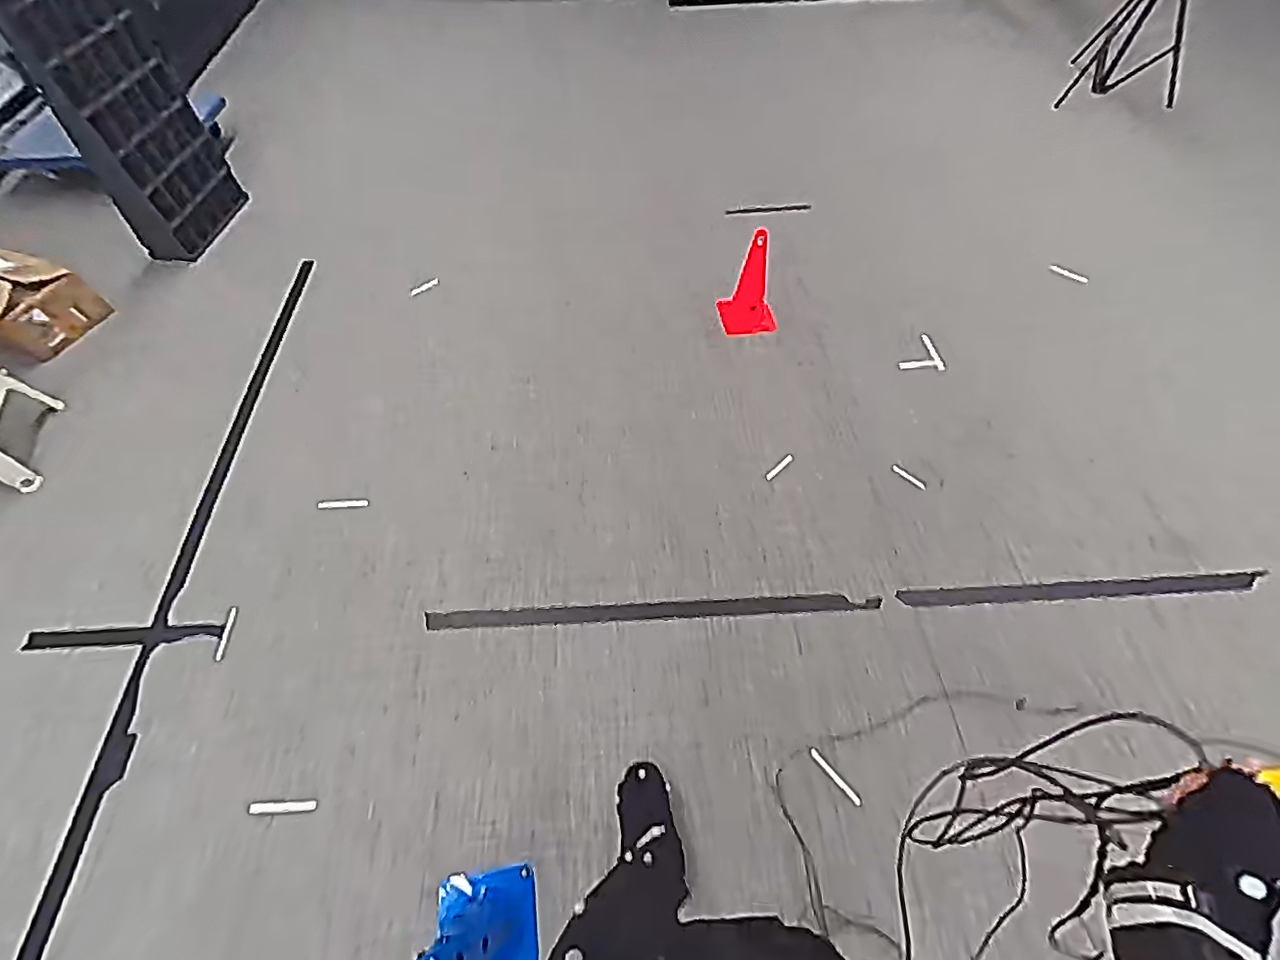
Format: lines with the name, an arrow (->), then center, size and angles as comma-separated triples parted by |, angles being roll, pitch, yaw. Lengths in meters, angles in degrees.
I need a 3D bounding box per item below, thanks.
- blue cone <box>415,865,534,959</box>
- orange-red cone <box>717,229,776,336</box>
blue cone -> -0.317, 0.828, 0.964 | 0.193, 0.380, 0.192 | -8, 58, -3
orange-red cone -> 0.399, -0.720, 1.926 | 0.199, 0.360, 0.198 | -8, 57, -2
